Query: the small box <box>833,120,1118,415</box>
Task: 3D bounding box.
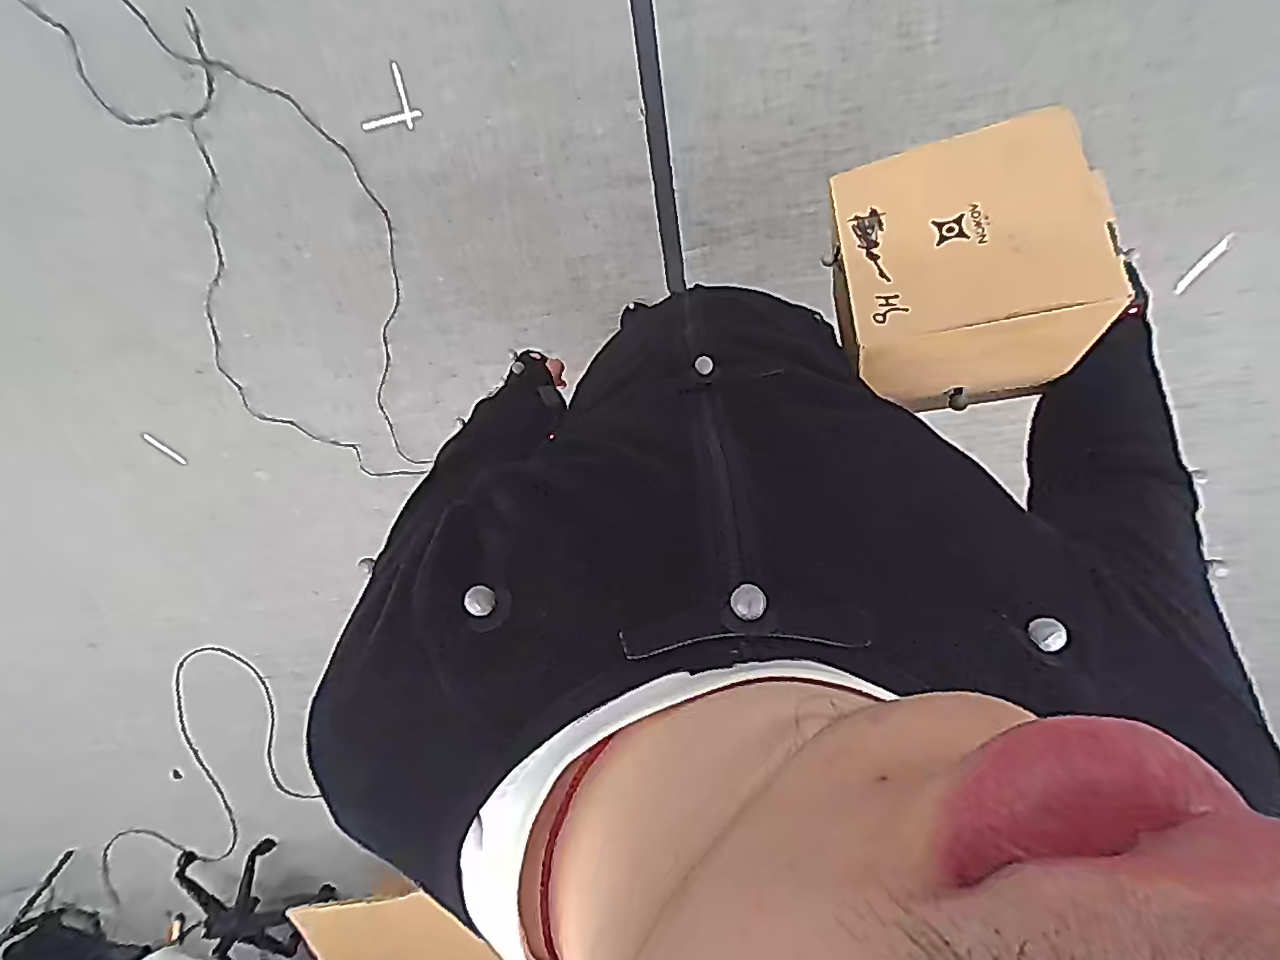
[{"bbox_3d":[0.278,-0.174,0.498,0.179,0.176,0.168,-7,73,18],"label":"small box"}]
